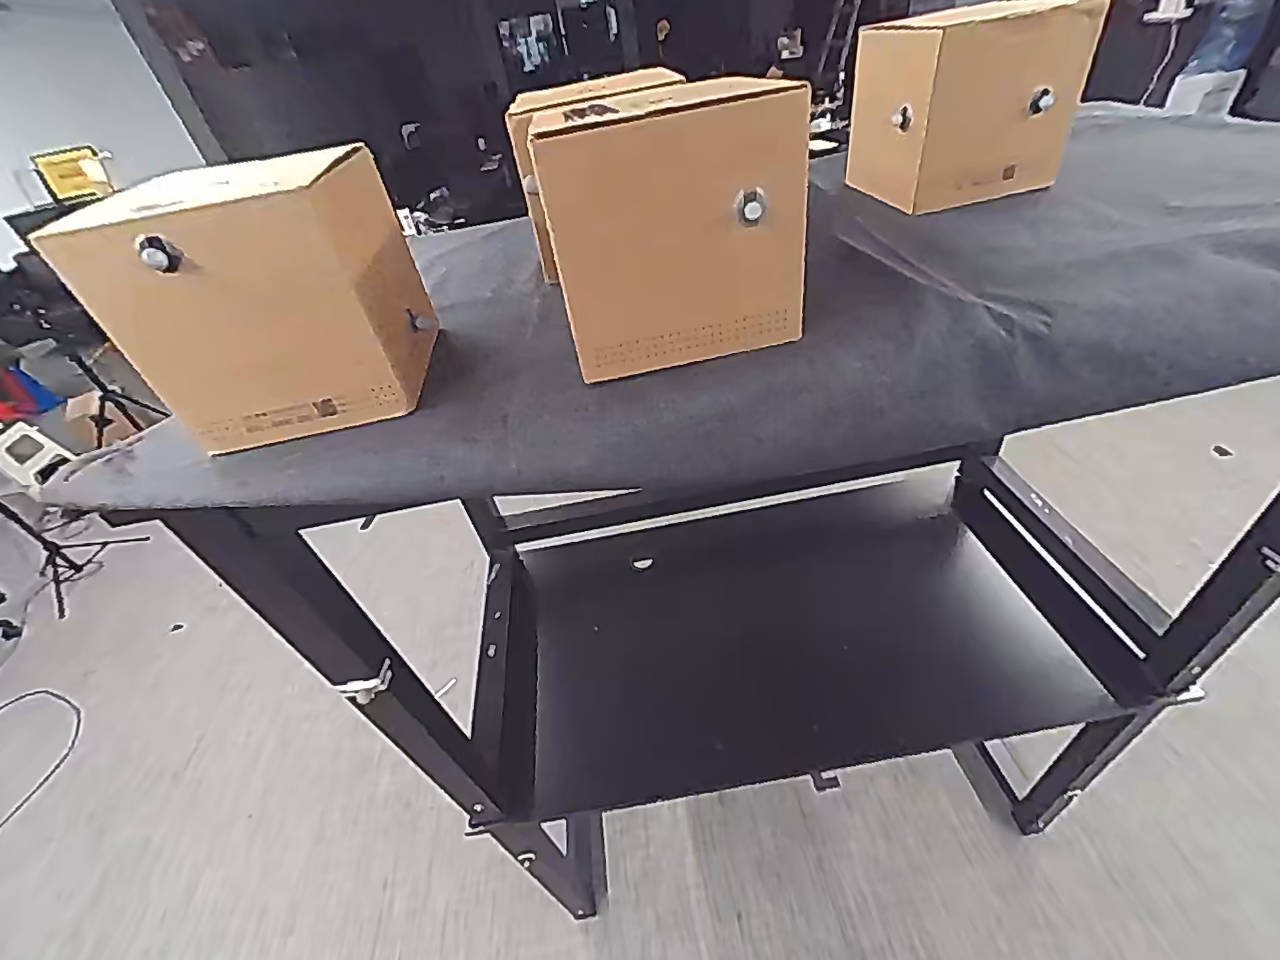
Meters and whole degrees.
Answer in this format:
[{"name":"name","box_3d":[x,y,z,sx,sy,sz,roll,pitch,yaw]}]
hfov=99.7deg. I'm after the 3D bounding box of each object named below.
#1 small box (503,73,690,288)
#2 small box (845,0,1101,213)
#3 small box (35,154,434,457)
[{"name":"small box","box_3d":[-0.041,-0.342,0.621,0.179,0.176,0.168,-11,40,1]},{"name":"small box","box_3d":[0.353,-0.420,0.617,0.168,0.176,0.179,-12,41,-2]},{"name":"small box","box_3d":[-0.284,-0.144,0.439,0.168,0.176,0.179,-13,39,-2]}]
